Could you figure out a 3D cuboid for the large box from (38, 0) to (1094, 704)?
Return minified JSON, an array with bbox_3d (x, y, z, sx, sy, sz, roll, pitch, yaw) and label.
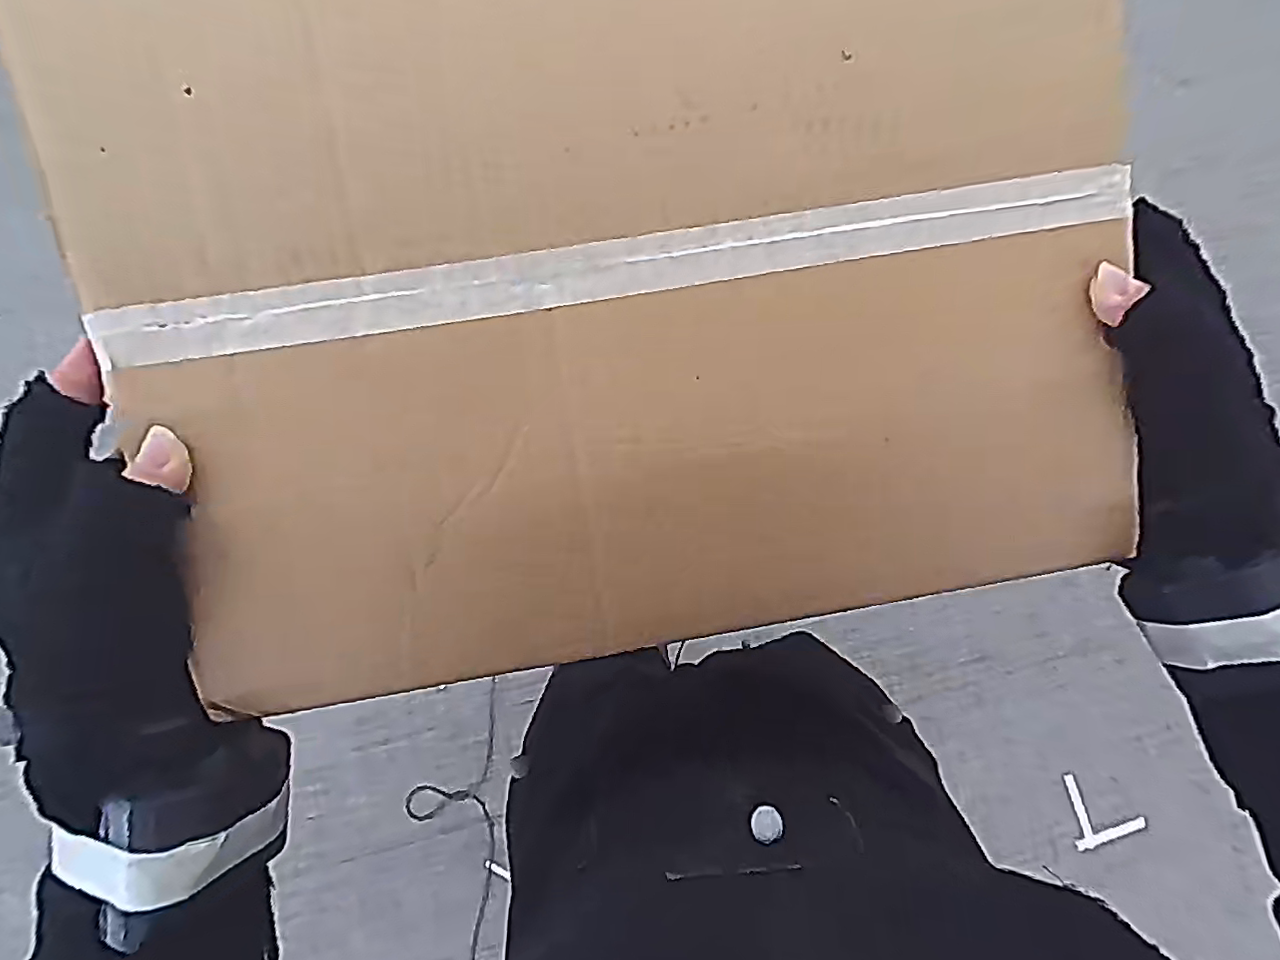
[{"bbox_3d":[-0.011,-0.106,0.371,0.408,0.320,0.320,-9,98,-4],"label":"large box"}]
